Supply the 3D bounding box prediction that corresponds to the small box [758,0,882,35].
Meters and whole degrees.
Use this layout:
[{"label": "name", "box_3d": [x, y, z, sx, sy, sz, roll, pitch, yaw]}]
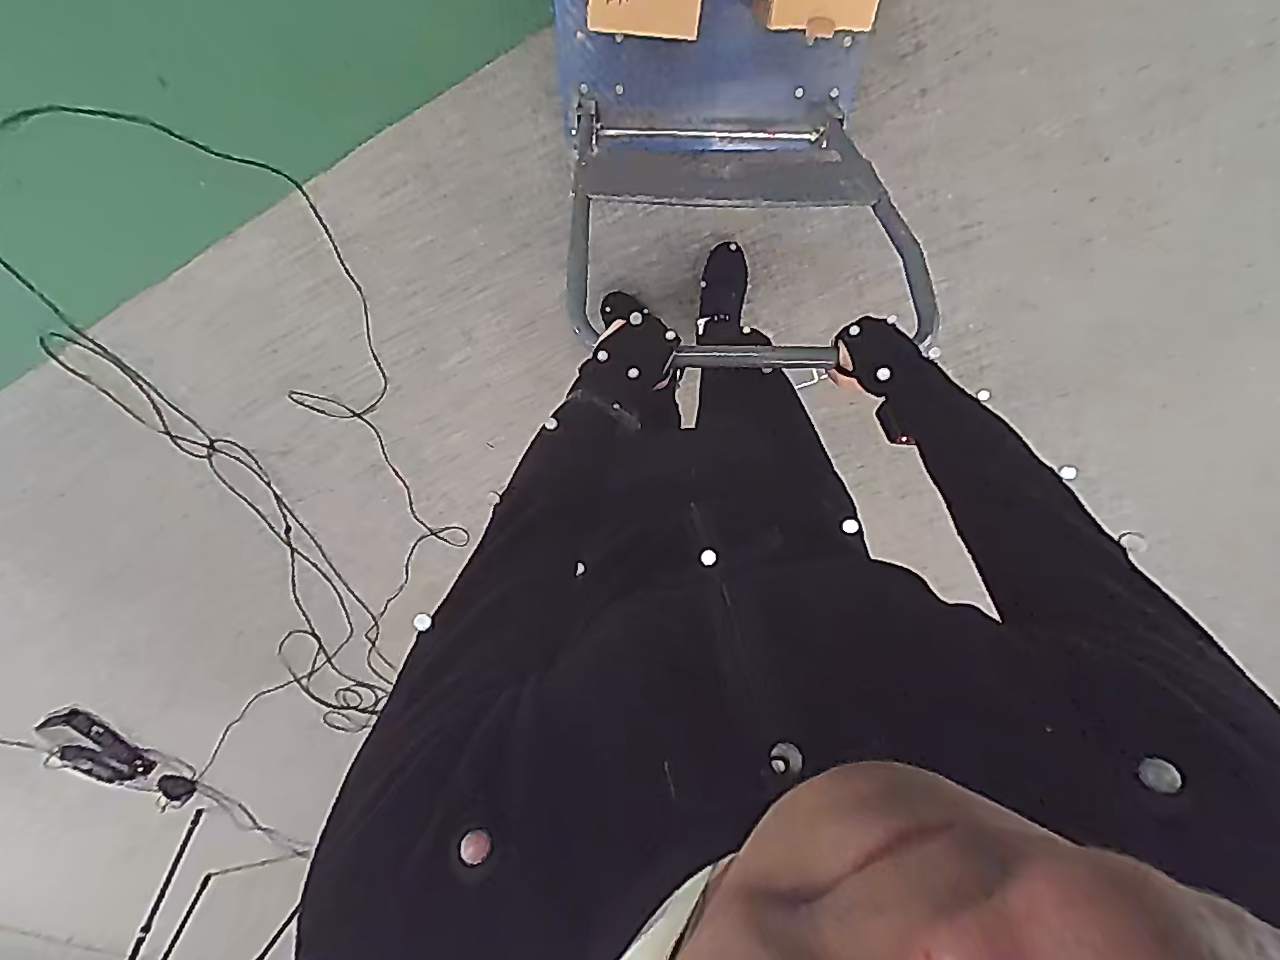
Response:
[{"label": "small box", "box_3d": [0.290, -0.826, 0.845, 0.168, 0.176, 0.179, 0, 139, -2]}]
